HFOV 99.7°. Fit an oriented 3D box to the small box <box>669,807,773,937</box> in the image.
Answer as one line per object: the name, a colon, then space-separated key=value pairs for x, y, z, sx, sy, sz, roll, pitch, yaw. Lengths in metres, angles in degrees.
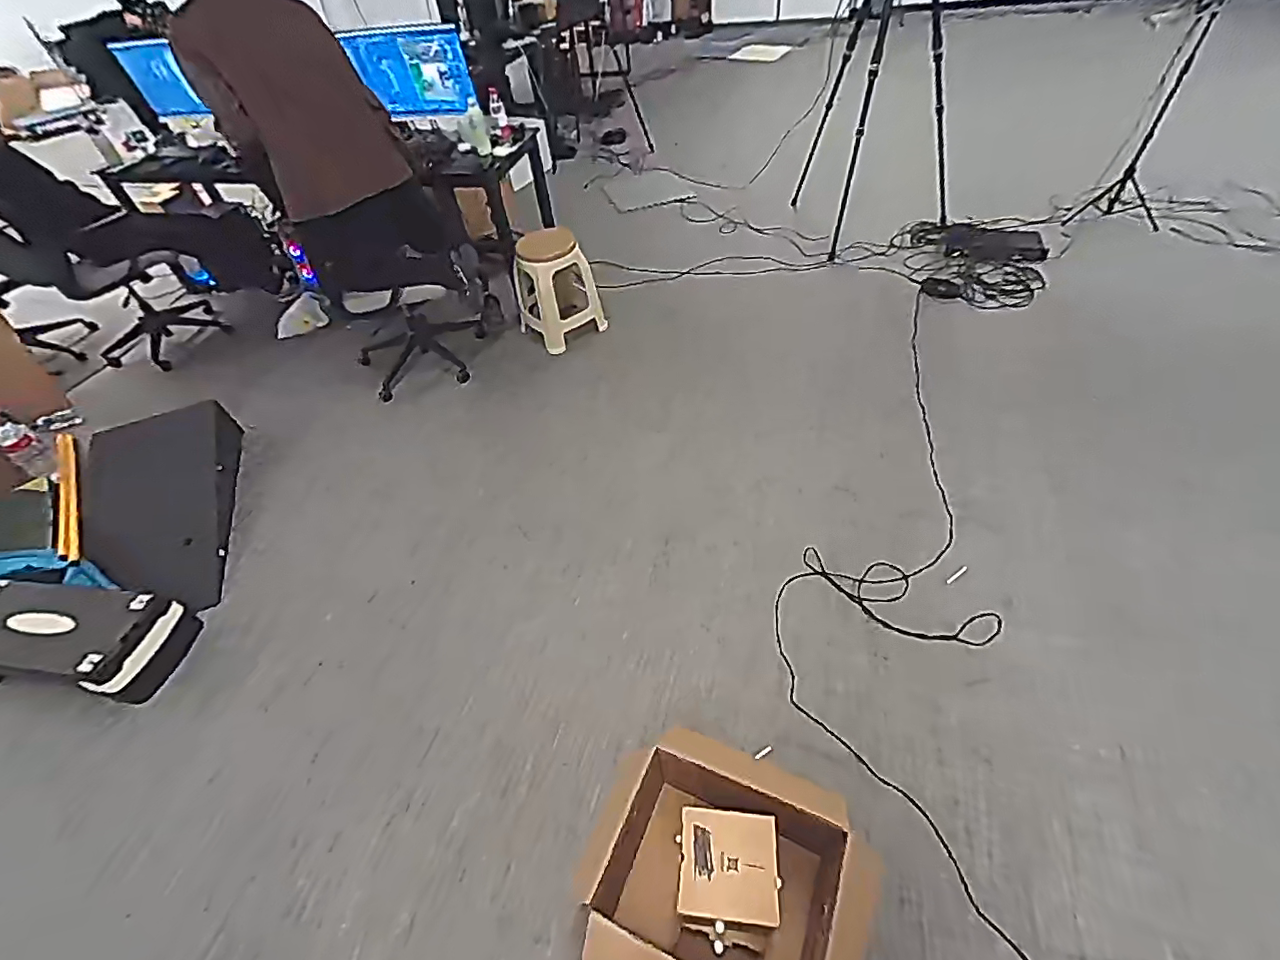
small box: x=0.157 y=0.743 z=1.023 sx=0.179 sy=0.176 sz=0.168 roll=3 pitch=49 yaw=11
